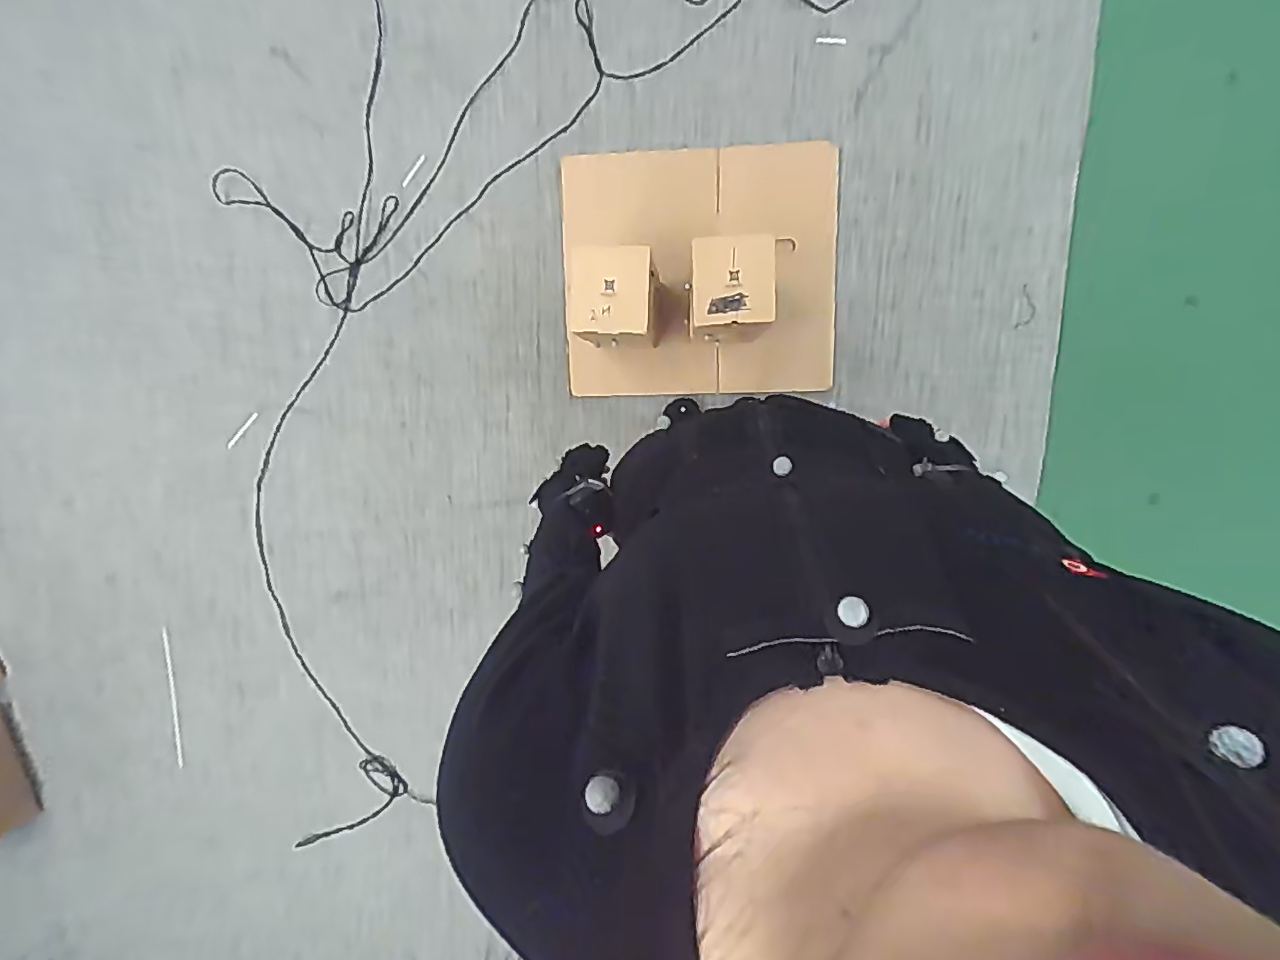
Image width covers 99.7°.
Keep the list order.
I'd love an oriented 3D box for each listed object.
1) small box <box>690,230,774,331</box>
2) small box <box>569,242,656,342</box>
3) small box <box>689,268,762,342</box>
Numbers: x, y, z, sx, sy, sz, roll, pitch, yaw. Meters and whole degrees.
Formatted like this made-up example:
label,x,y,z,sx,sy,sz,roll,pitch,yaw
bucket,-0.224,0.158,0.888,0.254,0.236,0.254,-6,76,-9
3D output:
label,x,y,z,sx,sy,sz,roll,pitch,yaw
small box,0.193,-0.415,1.157,0.168,0.176,0.179,-2,98,5
small box,-0.055,-0.403,1.177,0.168,0.176,0.179,3,99,6
small box,0.204,-0.438,1.320,0.168,0.176,0.179,-1,99,5
